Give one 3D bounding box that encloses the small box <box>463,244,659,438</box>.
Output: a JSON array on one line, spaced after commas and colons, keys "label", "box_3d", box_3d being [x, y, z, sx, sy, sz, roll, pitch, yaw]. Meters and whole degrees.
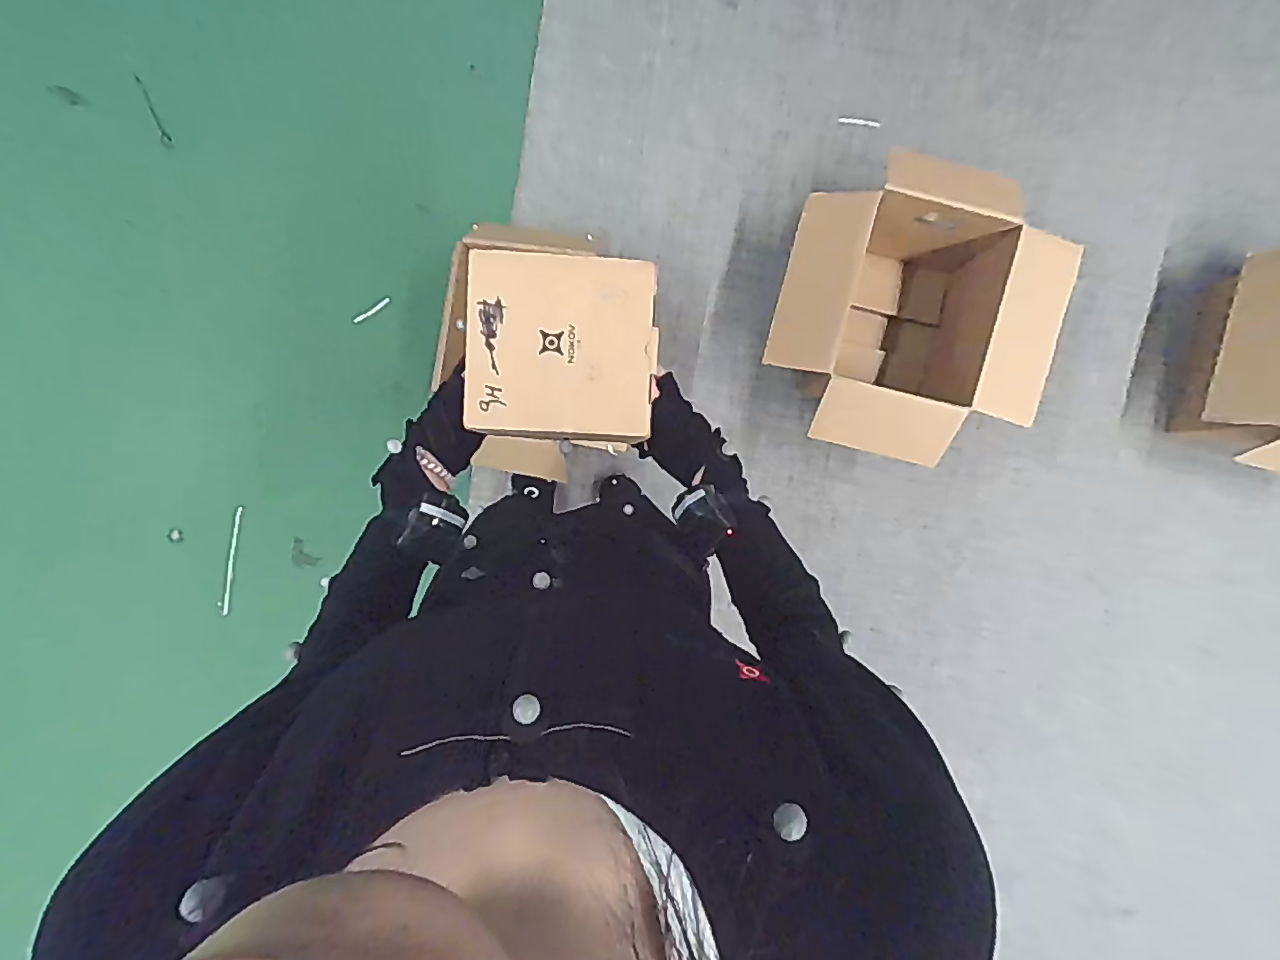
[{"label": "small box", "box_3d": [-0.082, -0.134, 0.588, 0.179, 0.176, 0.168, 4, 92, -5]}]
